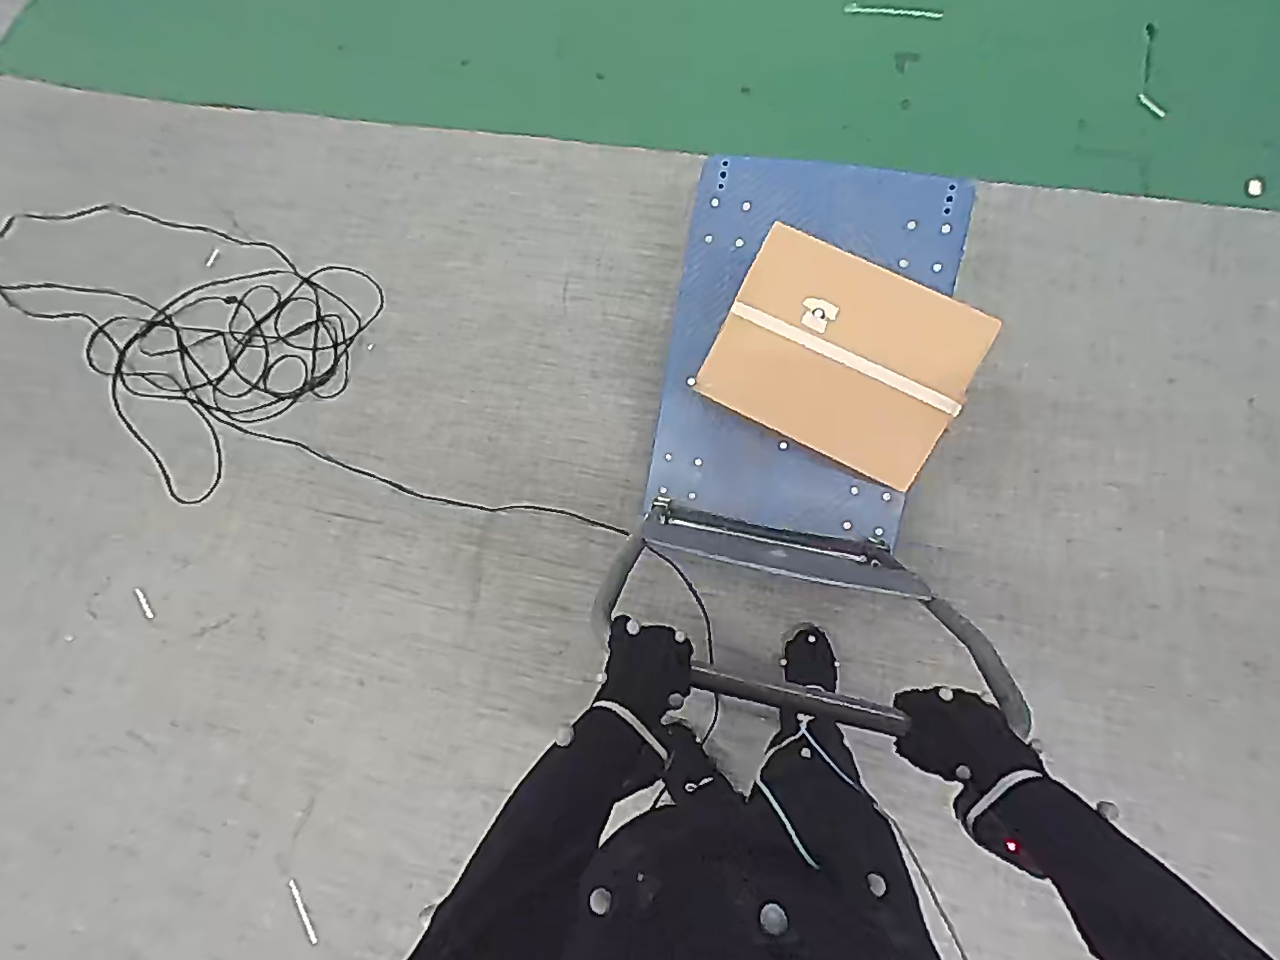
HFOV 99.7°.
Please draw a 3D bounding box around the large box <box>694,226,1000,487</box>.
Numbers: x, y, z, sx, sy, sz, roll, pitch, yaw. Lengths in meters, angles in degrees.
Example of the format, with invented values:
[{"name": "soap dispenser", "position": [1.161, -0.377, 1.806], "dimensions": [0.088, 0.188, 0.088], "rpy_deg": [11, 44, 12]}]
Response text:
[{"name": "large box", "position": [0.363, -0.220, 1.048], "dimensions": [0.408, 0.320, 0.320], "rpy_deg": [27, 99, 8]}]
